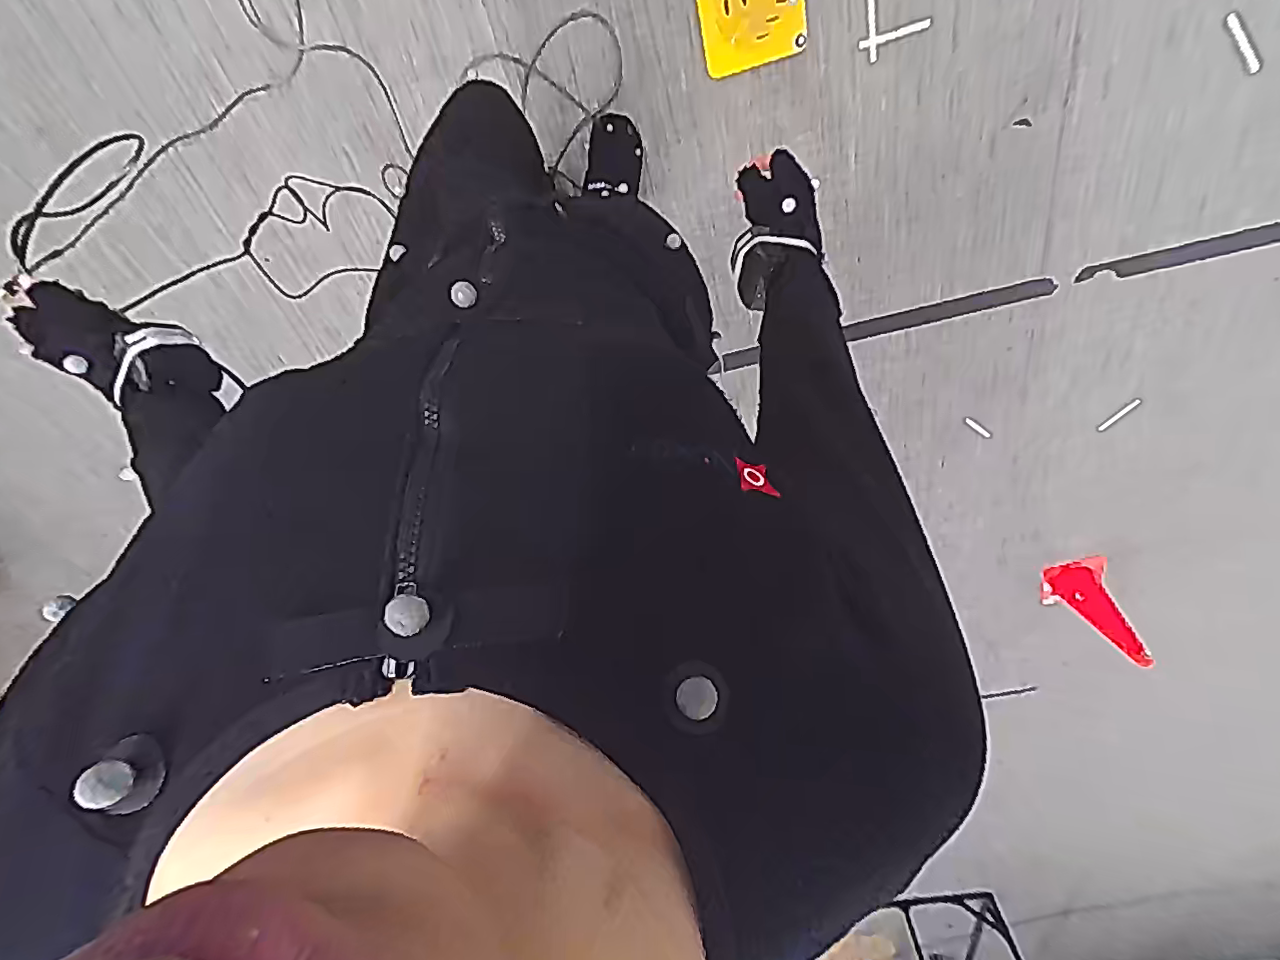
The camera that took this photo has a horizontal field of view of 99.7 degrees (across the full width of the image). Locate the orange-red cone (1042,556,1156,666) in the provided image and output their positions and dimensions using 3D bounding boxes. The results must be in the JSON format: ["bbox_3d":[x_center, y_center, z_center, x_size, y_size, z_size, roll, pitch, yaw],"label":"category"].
[{"bbox_3d":[1.560,0.455,1.797,0.199,0.360,0.198,-17,125,10],"label":"orange-red cone"}]
